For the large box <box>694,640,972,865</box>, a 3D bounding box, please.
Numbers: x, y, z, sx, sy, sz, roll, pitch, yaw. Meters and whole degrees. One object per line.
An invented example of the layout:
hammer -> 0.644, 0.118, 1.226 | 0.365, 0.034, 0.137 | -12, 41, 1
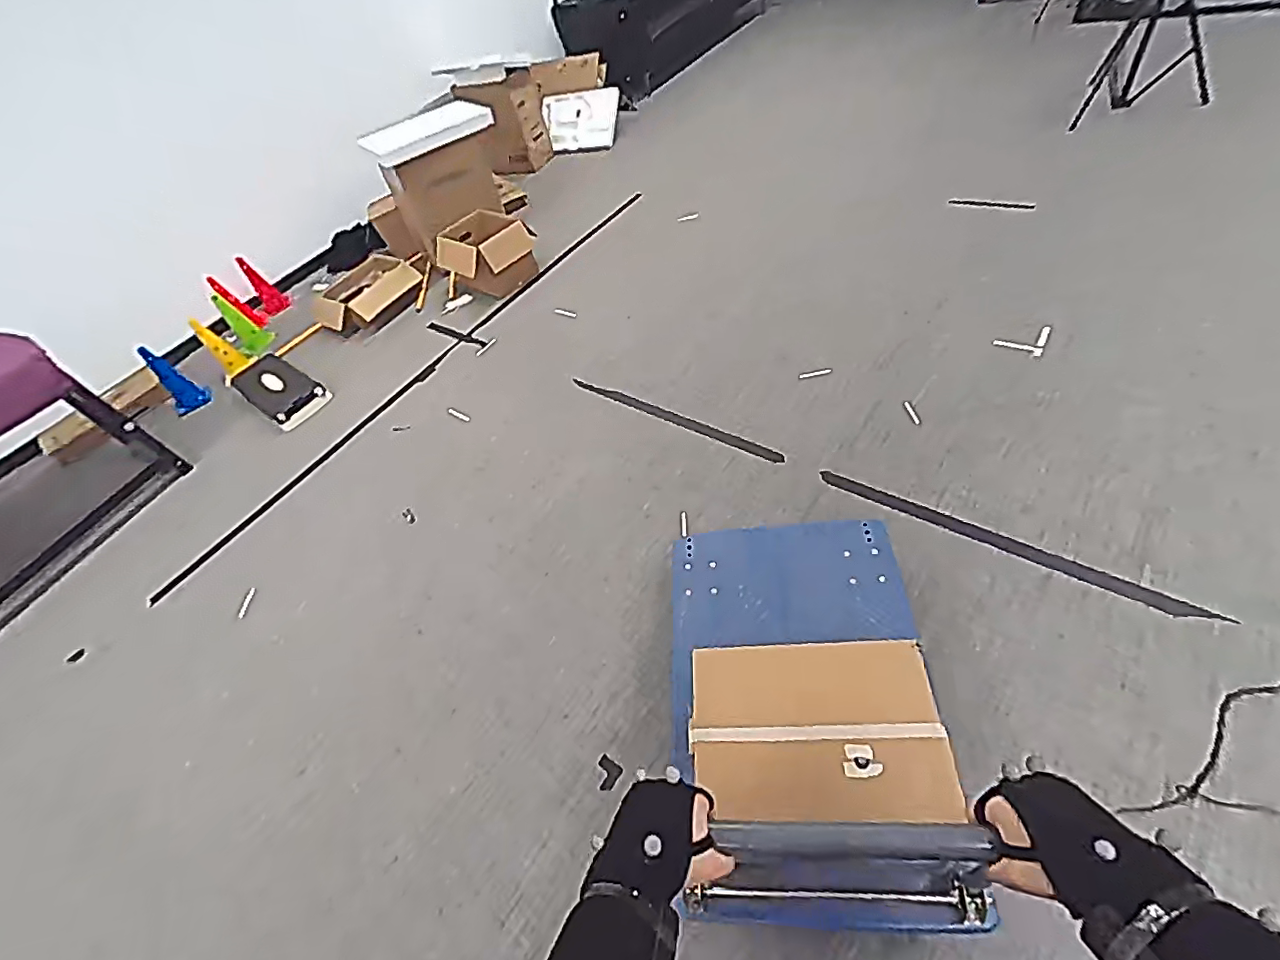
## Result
large box -> 0.322, 0.523, 1.021 | 0.408, 0.320, 0.320 | -6, 50, 10
